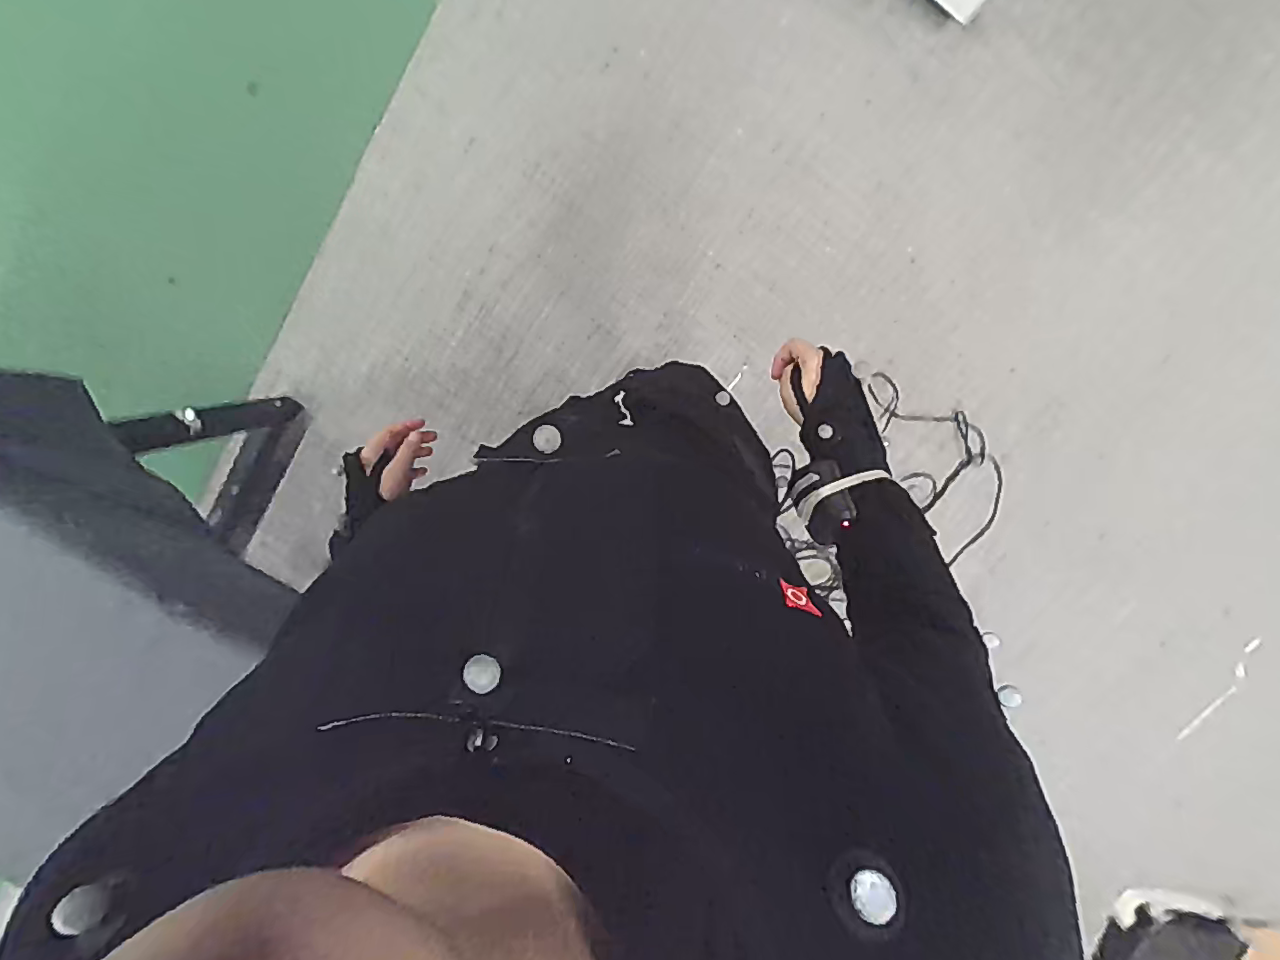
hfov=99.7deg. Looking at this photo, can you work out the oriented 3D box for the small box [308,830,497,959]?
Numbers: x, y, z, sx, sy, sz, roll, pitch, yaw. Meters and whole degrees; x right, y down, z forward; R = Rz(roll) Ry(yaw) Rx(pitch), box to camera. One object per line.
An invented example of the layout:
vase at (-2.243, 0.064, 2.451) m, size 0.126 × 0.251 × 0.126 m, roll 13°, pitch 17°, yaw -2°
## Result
small box at (-0.323, 0.614, 0.720) m, size 0.179 × 0.176 × 0.168 m, roll 33°, pitch 106°, yaw -5°
